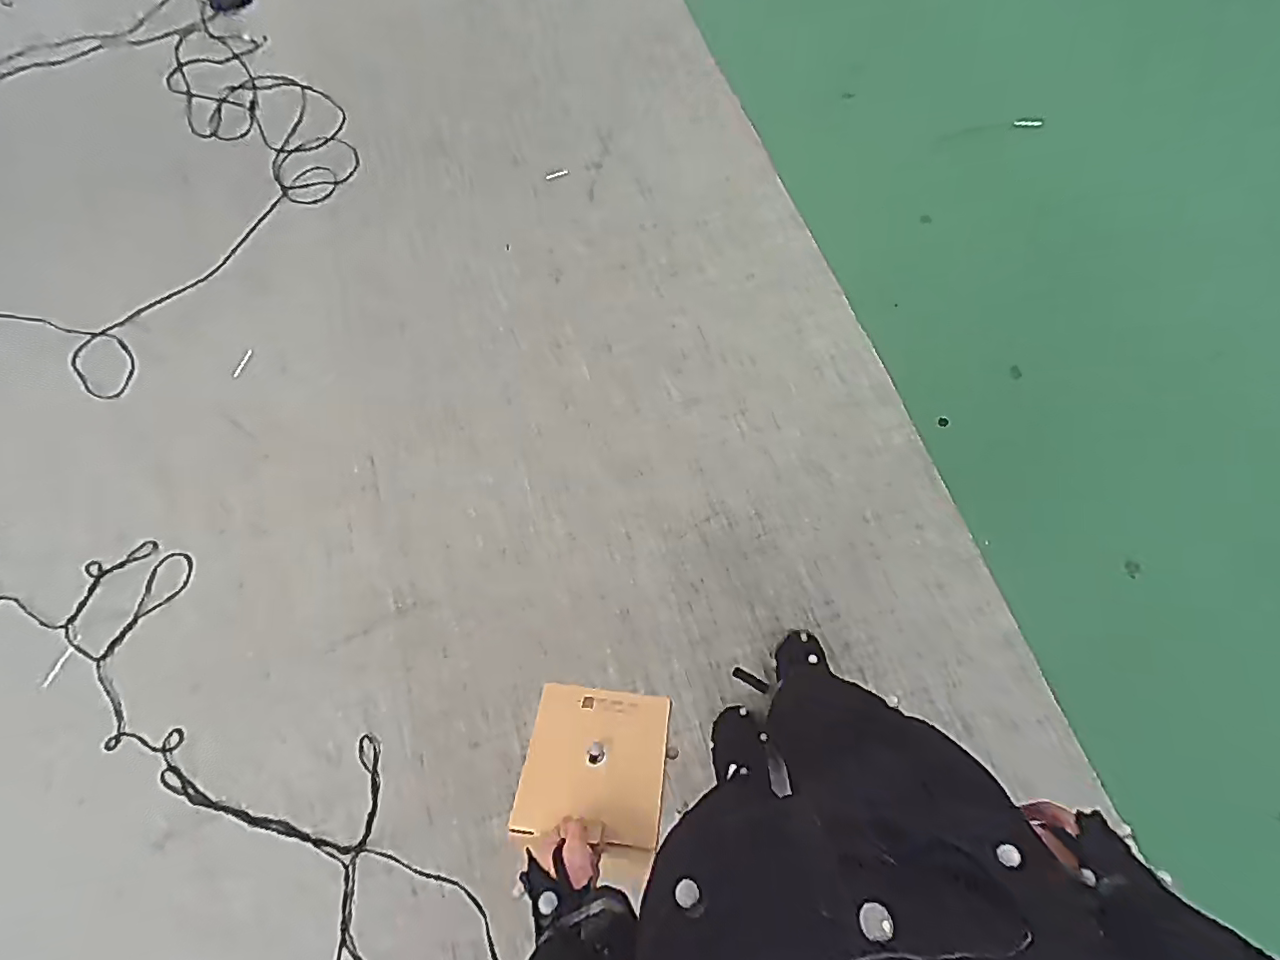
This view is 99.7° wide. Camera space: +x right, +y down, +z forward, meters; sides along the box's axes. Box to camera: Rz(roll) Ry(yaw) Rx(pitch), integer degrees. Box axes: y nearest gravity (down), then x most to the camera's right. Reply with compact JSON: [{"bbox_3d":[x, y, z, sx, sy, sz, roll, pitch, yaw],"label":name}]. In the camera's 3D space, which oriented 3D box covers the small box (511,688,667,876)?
[{"bbox_3d":[-0.055,0.387,0.699,0.168,0.179,0.176,5,46,4],"label":"small box"}]
